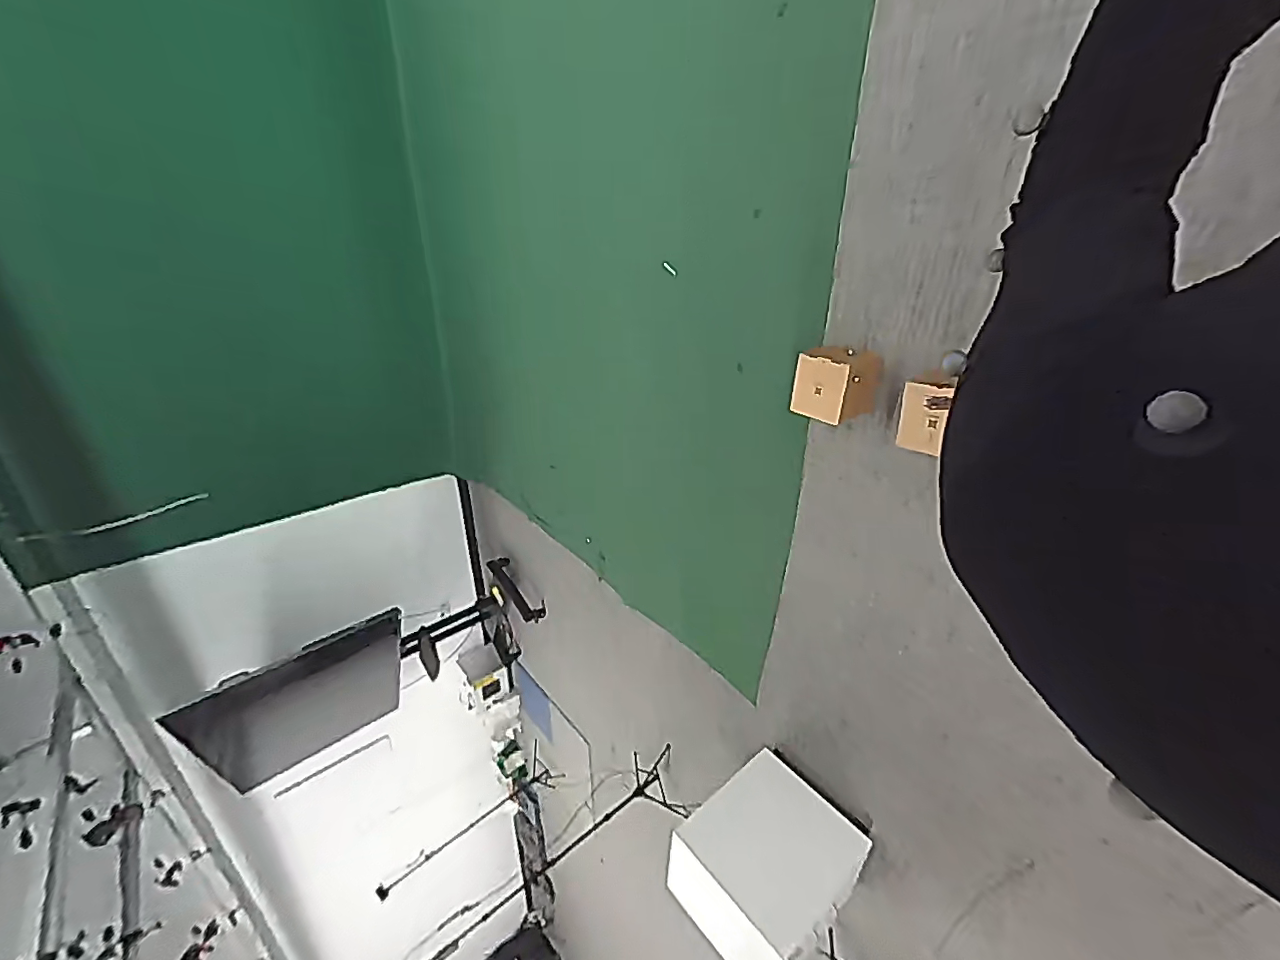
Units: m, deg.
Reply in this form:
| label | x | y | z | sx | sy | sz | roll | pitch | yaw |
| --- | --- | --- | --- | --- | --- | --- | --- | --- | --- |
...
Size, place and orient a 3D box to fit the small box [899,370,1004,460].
| label | x | y | z | sx | sy | sz | roll | pitch | yaw |
| --- | --- | --- | --- | --- | --- | --- | --- | --- | --- |
| small box | 0.779 | -0.171 | 1.351 | 0.168 | 0.176 | 0.179 | 23 | 124 | 46 |

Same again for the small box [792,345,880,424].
| label | x | y | z | sx | sy | sz | roll | pitch | yaw |
| --- | --- | --- | --- | --- | --- | --- | --- | --- | --- |
| small box | 0.572 | -0.283 | 1.573 | 0.168 | 0.176 | 0.179 | 29 | 127 | 42 |
